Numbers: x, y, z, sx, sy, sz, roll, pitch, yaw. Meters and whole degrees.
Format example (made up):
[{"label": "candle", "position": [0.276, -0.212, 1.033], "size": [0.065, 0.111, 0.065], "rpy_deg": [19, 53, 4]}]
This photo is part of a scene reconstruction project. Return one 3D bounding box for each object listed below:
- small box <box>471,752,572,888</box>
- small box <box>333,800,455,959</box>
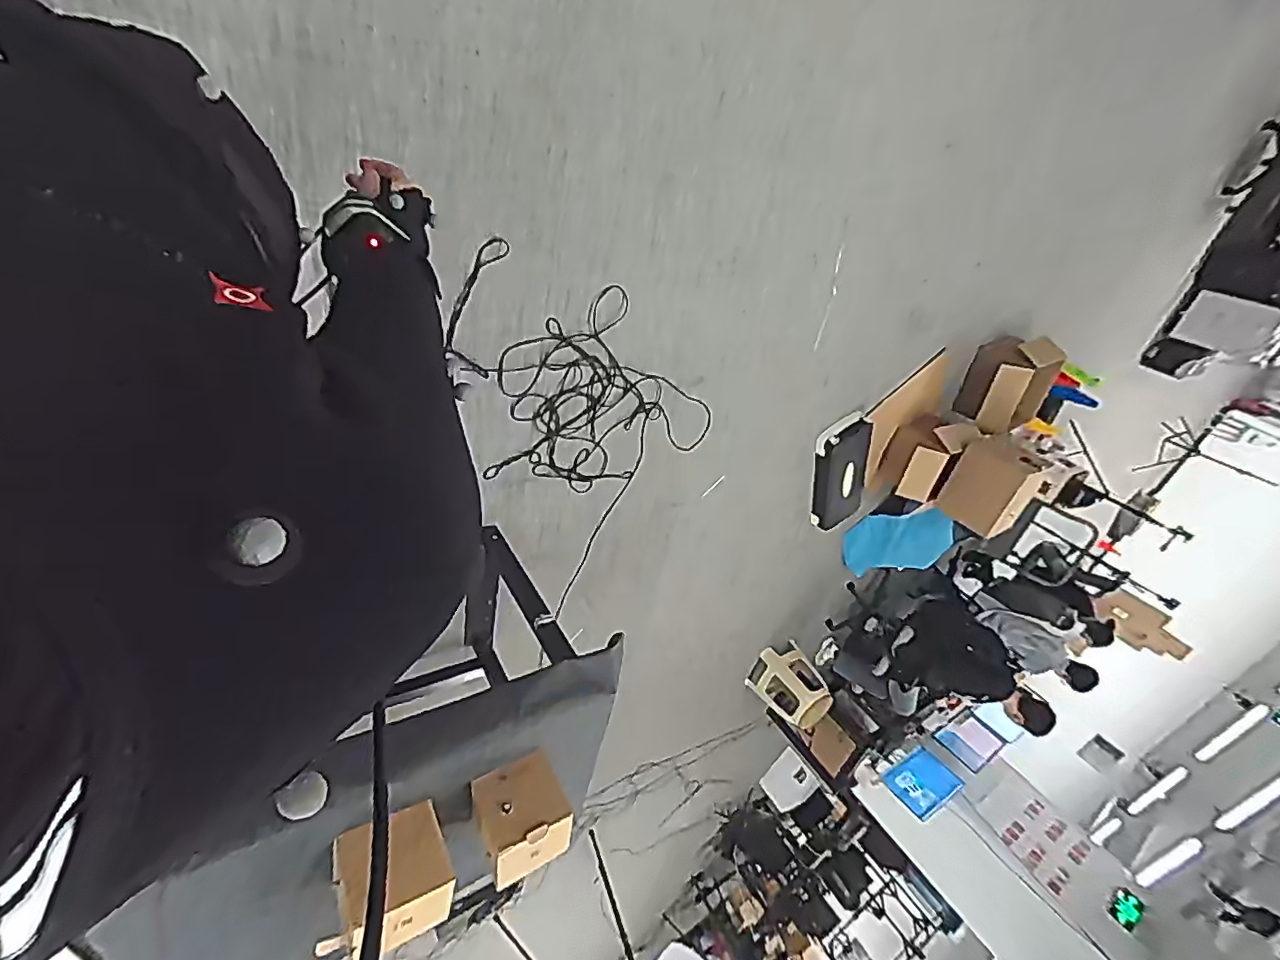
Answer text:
[{"label": "small box", "position": [-0.264, 0.731, 1.185], "size": [0.168, 0.176, 0.179], "rpy_deg": [-13, 131, -30]}, {"label": "small box", "position": [-0.475, 0.759, 1.035], "size": [0.179, 0.176, 0.168], "rpy_deg": [-5, 126, -36]}]
